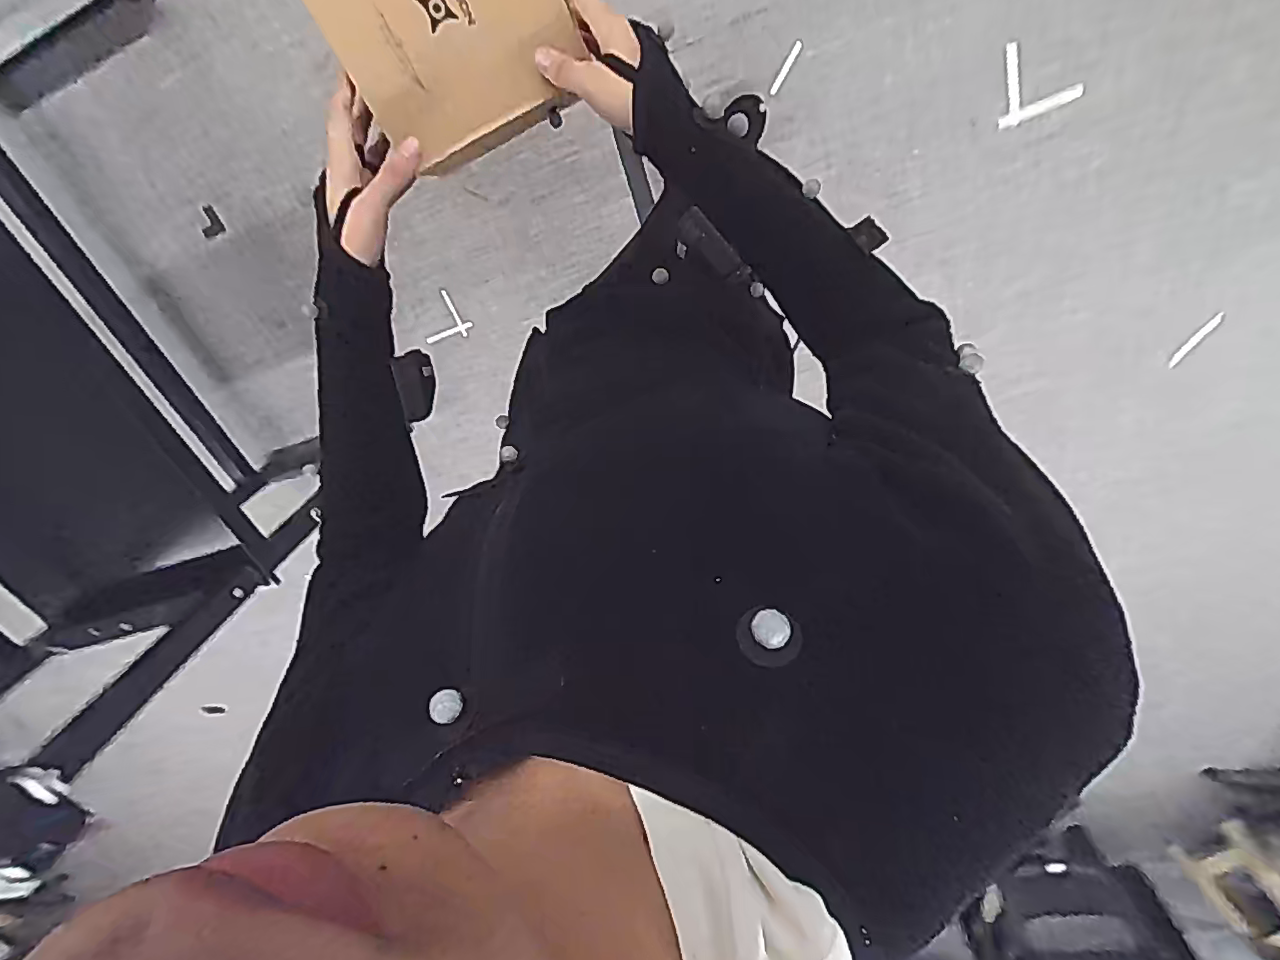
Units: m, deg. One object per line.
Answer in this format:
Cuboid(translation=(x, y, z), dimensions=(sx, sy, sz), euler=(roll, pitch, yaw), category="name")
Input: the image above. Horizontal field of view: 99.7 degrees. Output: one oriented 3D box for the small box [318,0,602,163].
Cuboid(translation=(-0.151, -0.392, 0.455), dimensions=(0.179, 0.176, 0.168), euler=(-25, 120, 5), category="small box")
